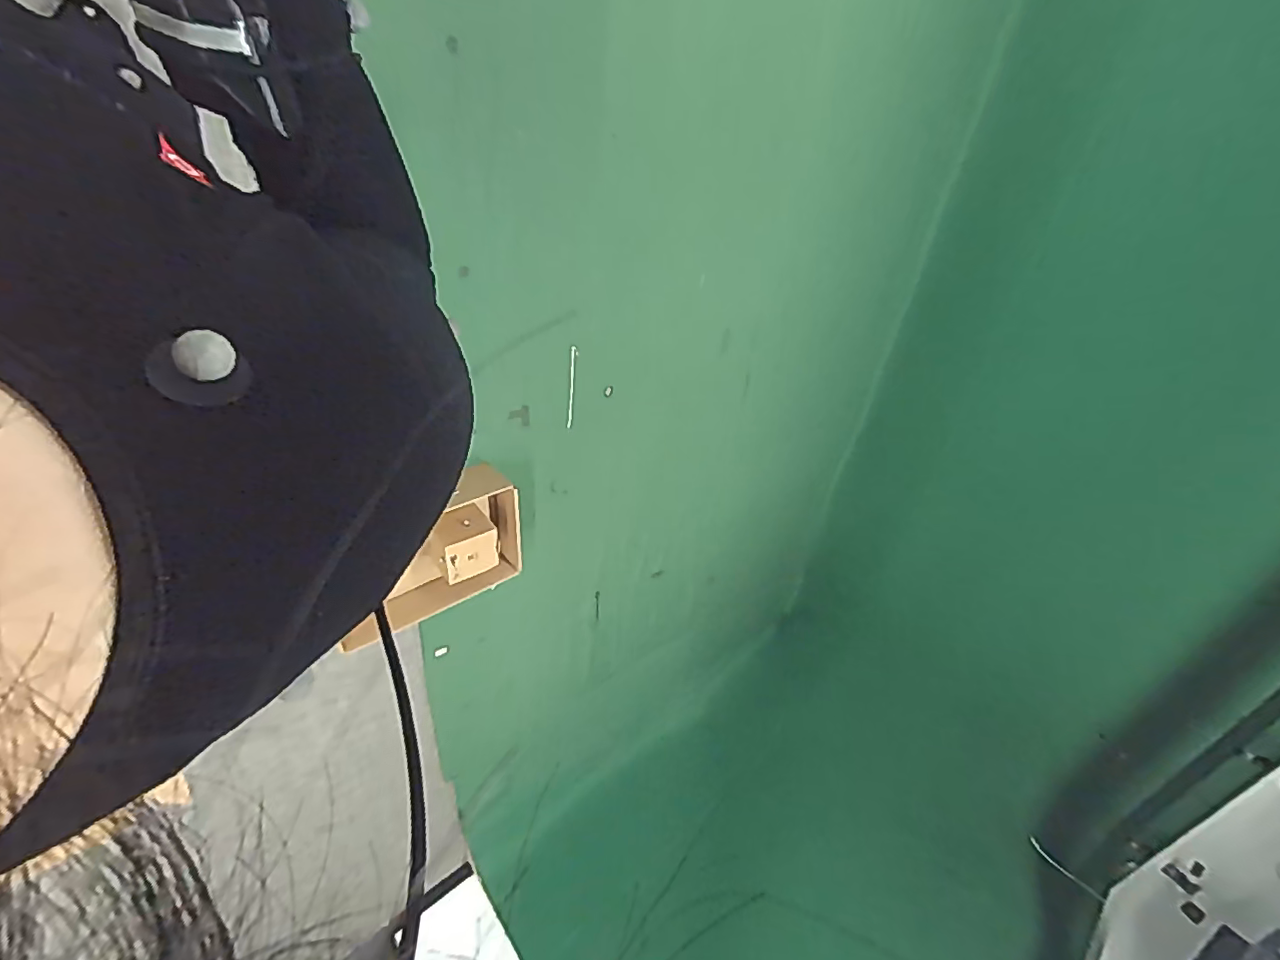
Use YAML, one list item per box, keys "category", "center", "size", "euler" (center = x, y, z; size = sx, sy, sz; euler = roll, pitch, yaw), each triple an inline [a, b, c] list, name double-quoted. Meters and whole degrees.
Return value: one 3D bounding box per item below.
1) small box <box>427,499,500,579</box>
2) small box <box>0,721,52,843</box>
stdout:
- category: "small box"
  center: [-0.580, 0.187, 1.783]
  size: [0.179, 0.176, 0.168]
  euler: [-21, 134, -35]
- category: "small box"
  center: [-1.349, 0.632, 1.097]
  size: [0.168, 0.176, 0.179]
  euler: [-24, 135, -37]
